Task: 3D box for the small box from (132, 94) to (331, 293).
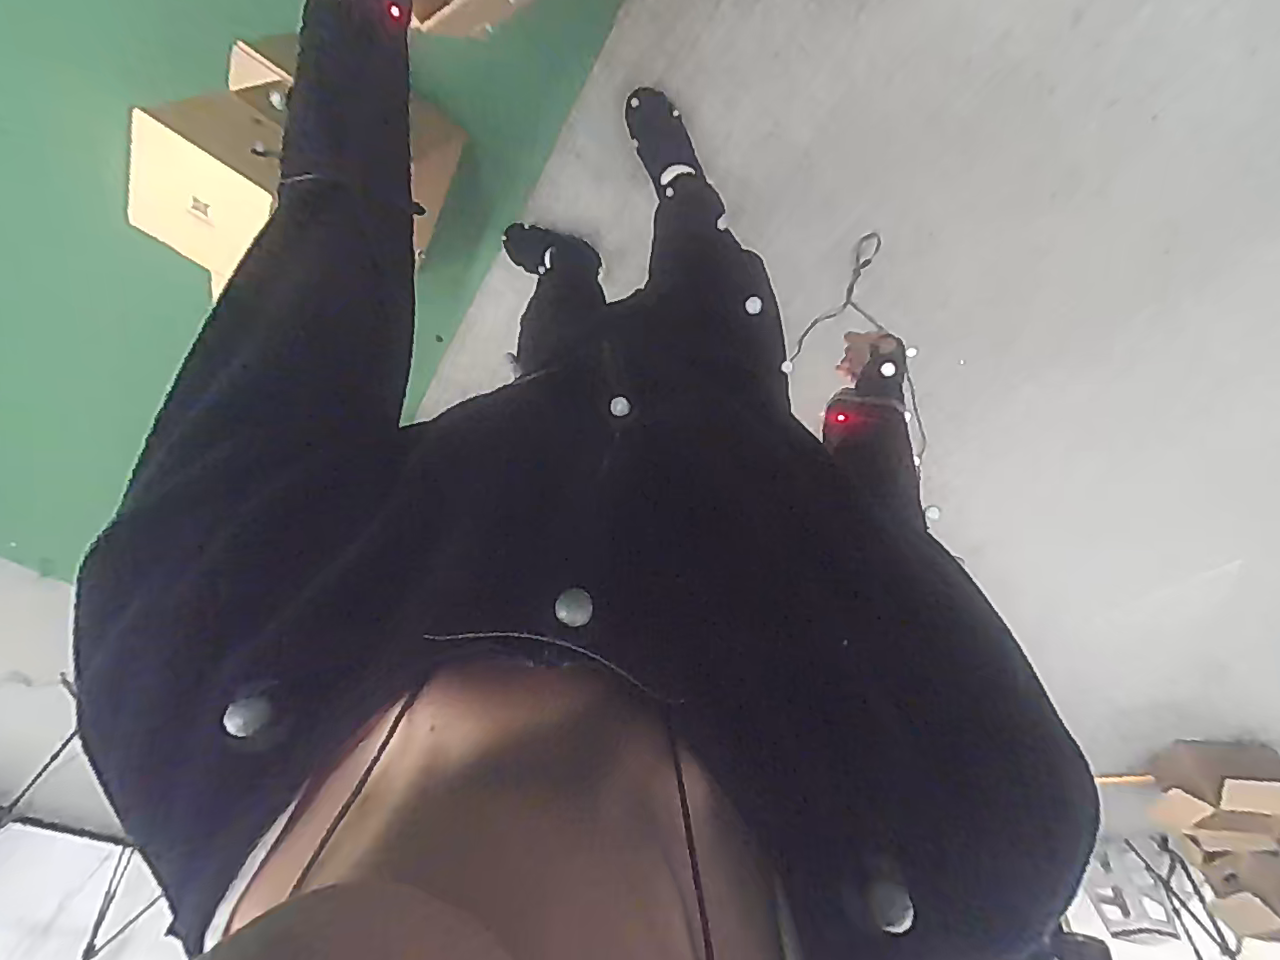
[{"bbox_3d":[-0.586,-0.421,0.792,0.168,0.176,0.179,31,130,-21],"label":"small box"}]
